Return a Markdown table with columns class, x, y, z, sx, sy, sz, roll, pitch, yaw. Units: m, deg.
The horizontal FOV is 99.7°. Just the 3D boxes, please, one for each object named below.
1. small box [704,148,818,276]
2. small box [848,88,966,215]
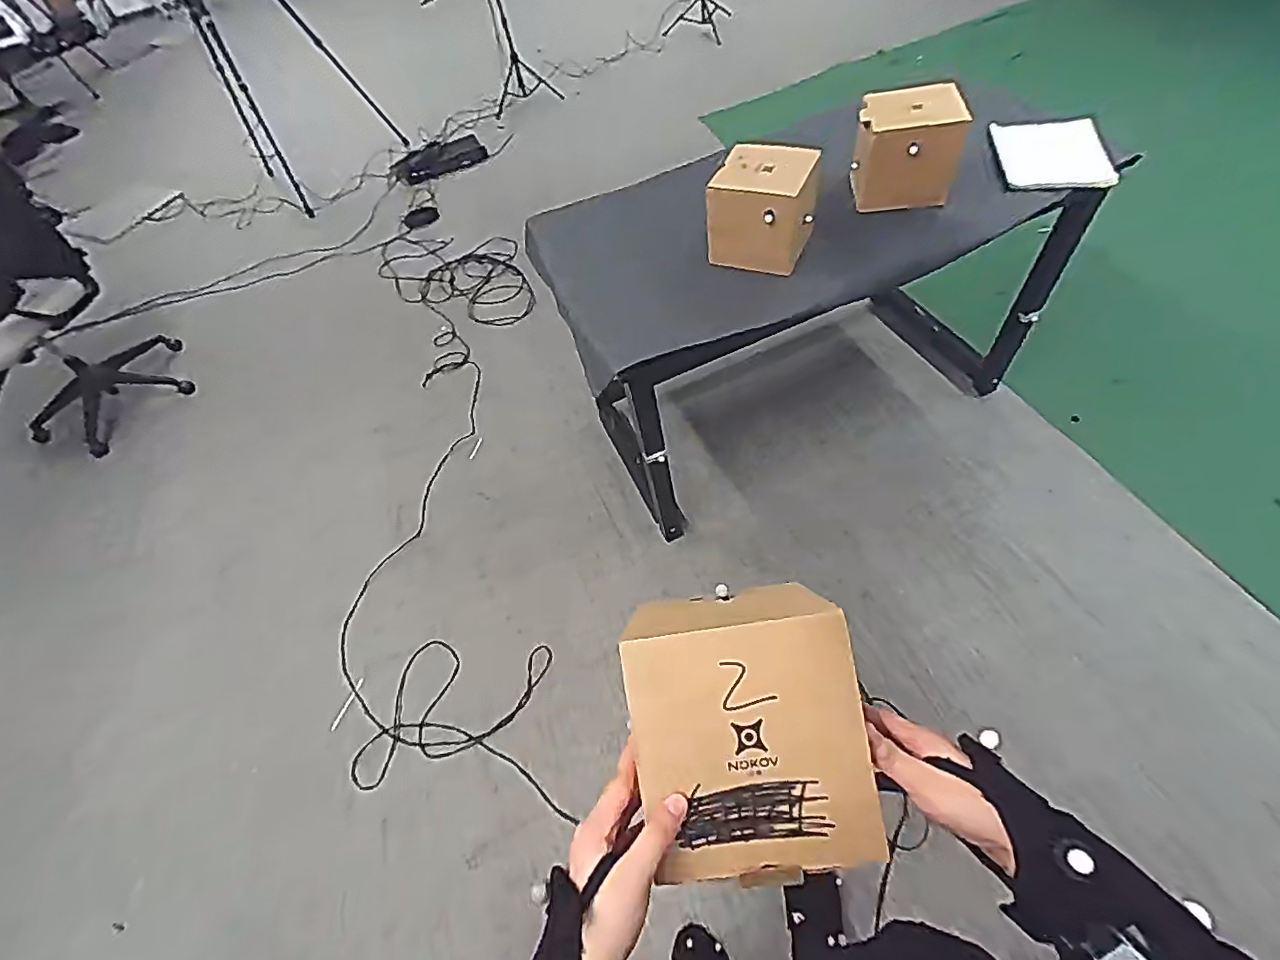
| class | x | y | z | sx | sy | sz | roll | pitch | yaw |
| --- | --- | --- | --- | --- | --- | --- | --- | --- | --- |
| small box | 0.244 | -0.539 | 1.098 | 0.179 | 0.176 | 0.168 | 18 | 61 | 21 |
| small box | 0.551 | -0.687 | 1.142 | 0.179 | 0.176 | 0.168 | 0 | 56 | 11 |
